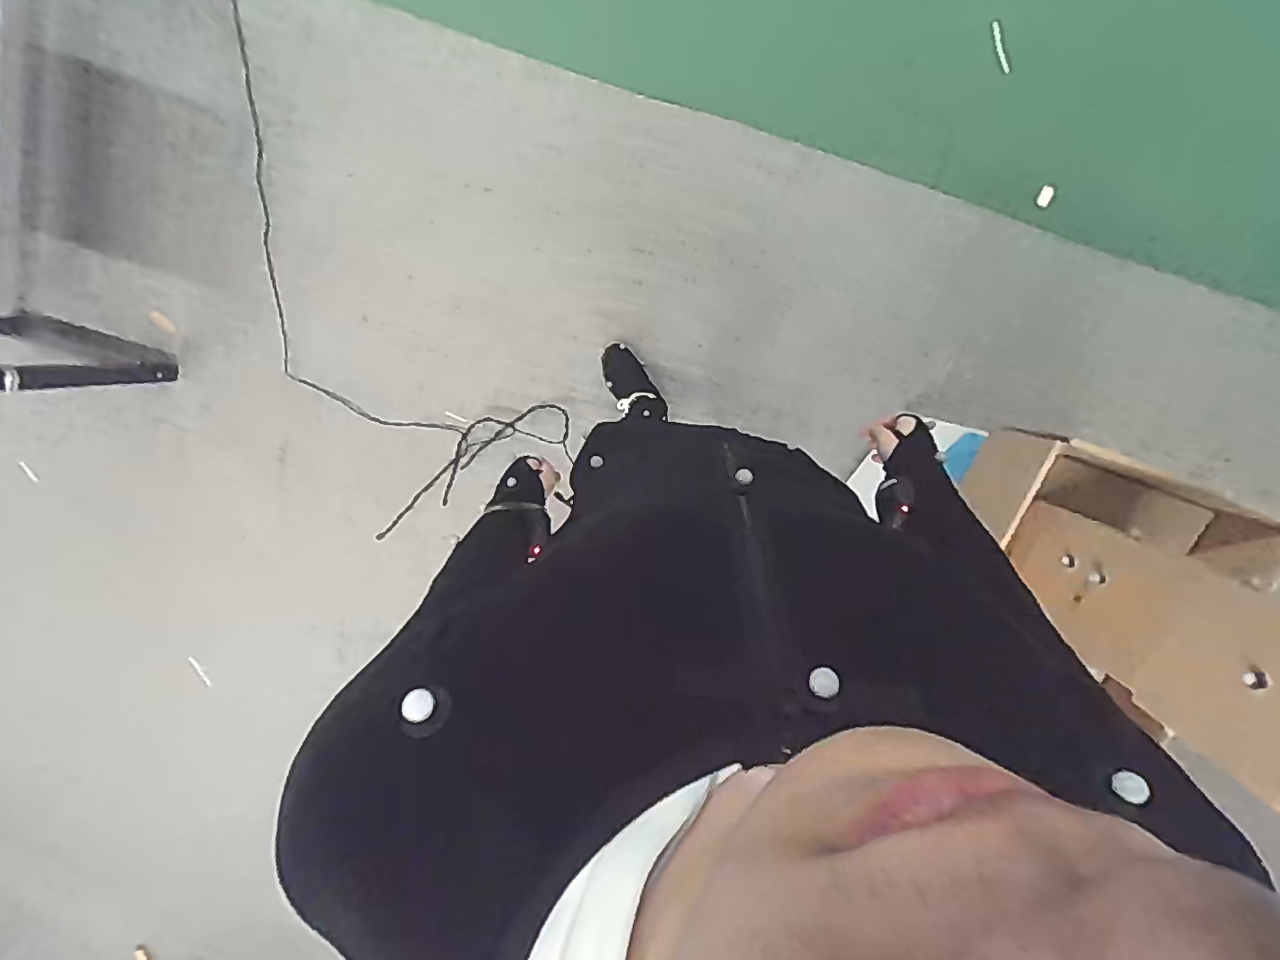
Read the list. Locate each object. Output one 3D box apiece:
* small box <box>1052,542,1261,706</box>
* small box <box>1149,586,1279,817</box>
[{"bbox_3d":[0.708,0.200,0.707,0.179,0.176,0.168,21,104,0],"label":"small box"},{"bbox_3d":[0.690,0.238,0.549,0.168,0.176,0.179,20,103,-1],"label":"small box"}]
